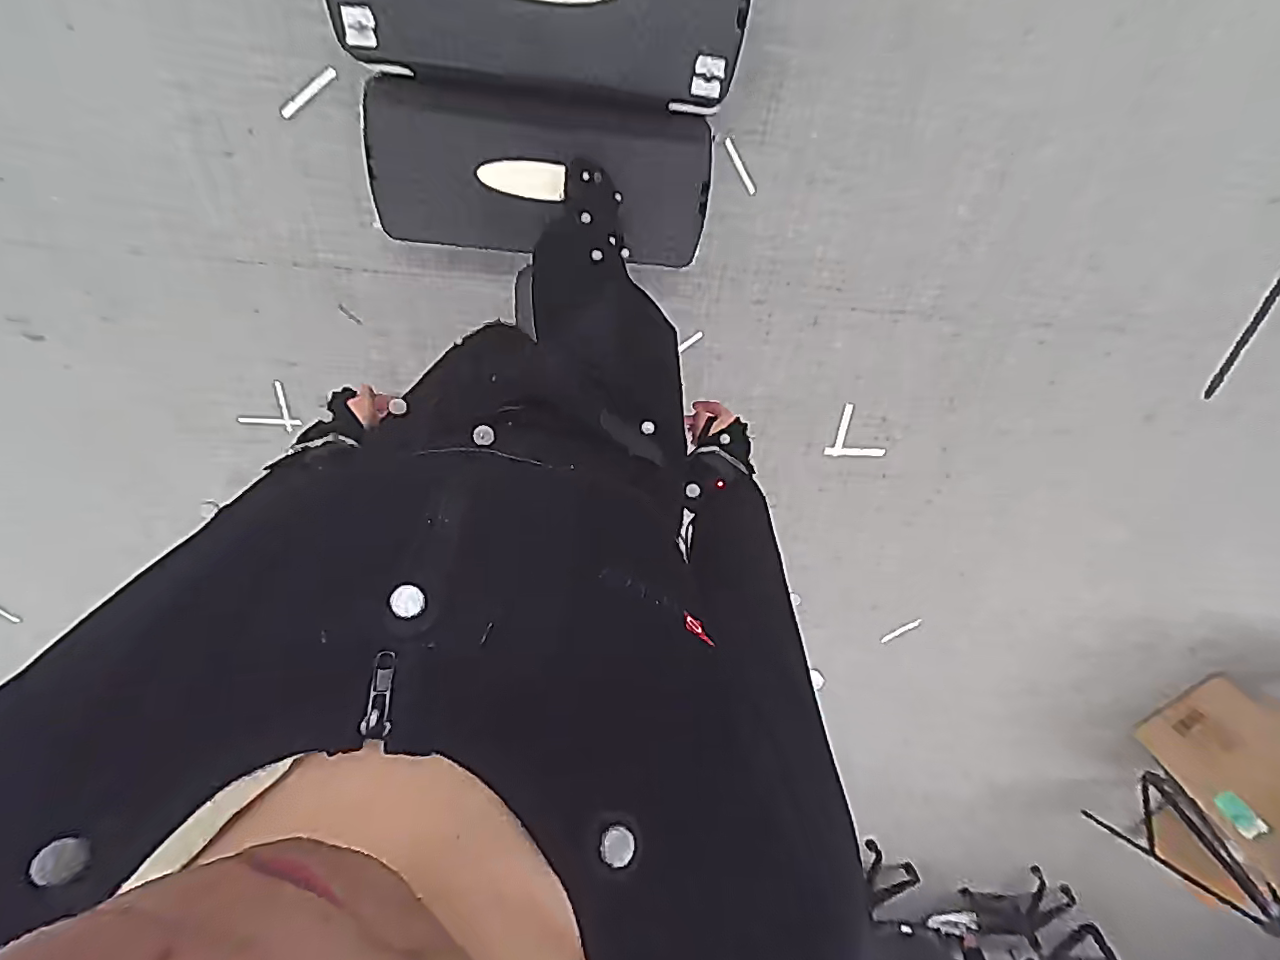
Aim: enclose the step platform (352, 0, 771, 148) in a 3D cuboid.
[{"bbox_3d":[-0.125,-0.801,0.933,0.684,0.204,0.286,7,119,-8],"label":"step platform"}]
